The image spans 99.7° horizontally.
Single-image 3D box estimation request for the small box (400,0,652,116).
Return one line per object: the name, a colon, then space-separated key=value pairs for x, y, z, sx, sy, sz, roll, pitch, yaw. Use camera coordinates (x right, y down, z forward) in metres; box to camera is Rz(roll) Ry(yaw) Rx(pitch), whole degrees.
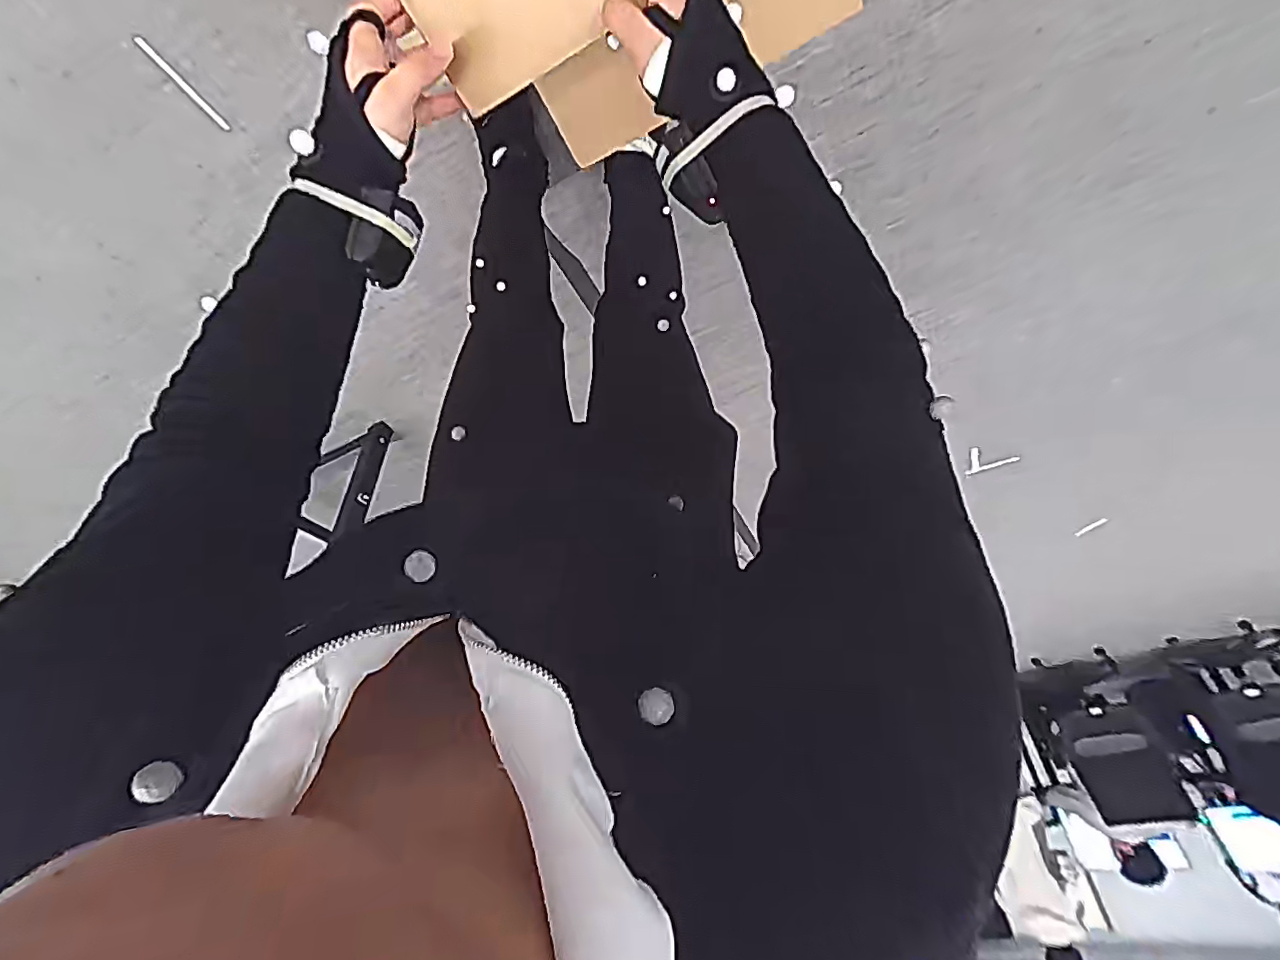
small box: x=-0.099 y=-0.445 z=0.435 sx=0.179 sy=0.176 sz=0.168 roll=-15 pitch=135 yaw=23
